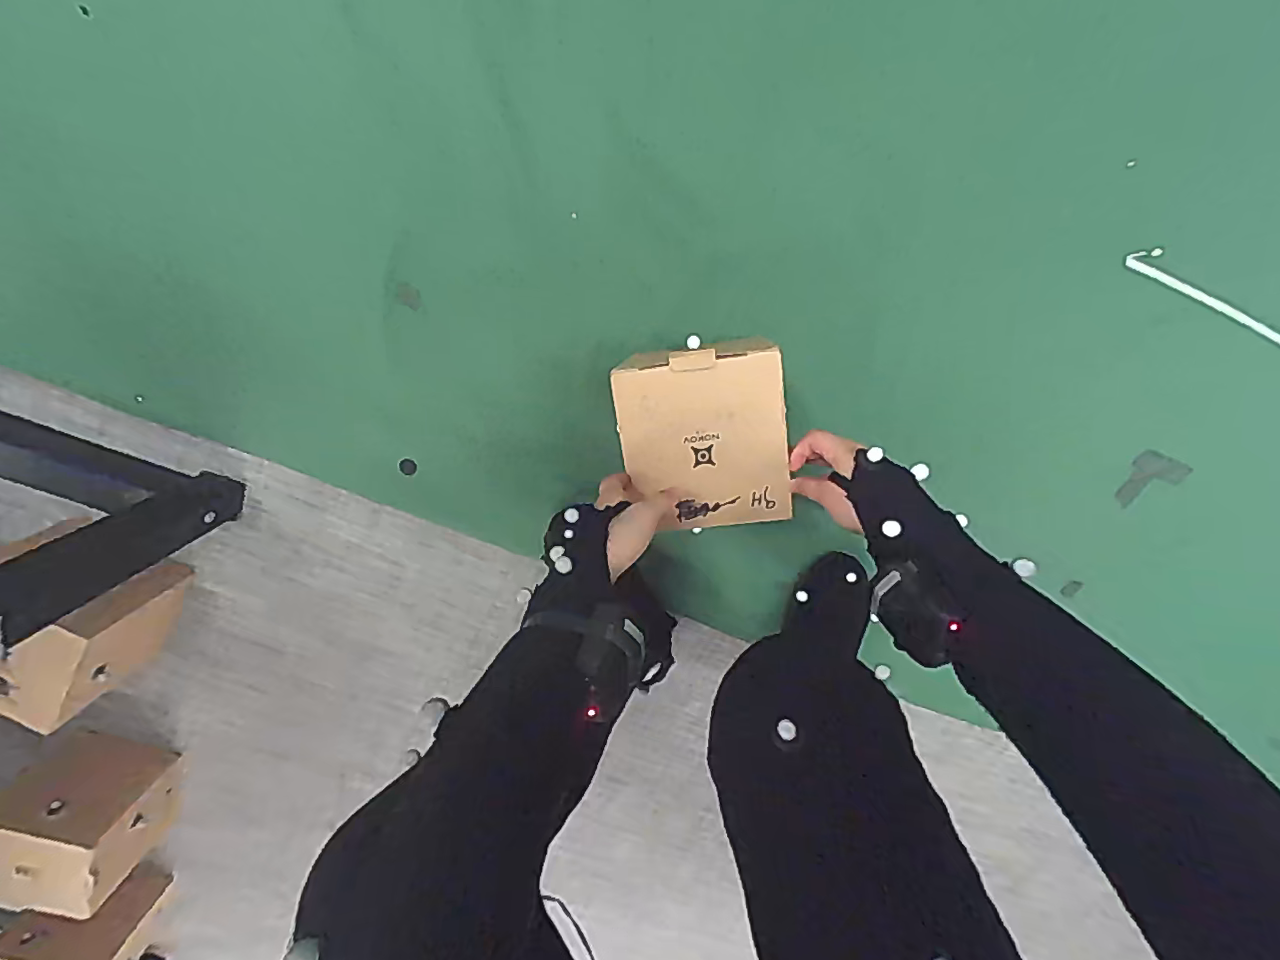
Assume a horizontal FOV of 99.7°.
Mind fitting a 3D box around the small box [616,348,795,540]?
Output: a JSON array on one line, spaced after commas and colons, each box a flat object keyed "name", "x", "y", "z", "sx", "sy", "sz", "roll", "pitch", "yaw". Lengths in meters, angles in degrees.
[{"name": "small box", "x": 0.074, "y": -0.050, "z": 0.609, "sx": 0.168, "sy": 0.176, "sz": 0.179, "roll": -6, "pitch": 108, "yaw": 8}]

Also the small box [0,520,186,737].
[{"name": "small box", "x": -0.759, "y": 0.185, "z": 0.711, "sx": 0.168, "sy": 0.176, "sz": 0.179, "roll": 34, "pitch": 105, "yaw": -12}]

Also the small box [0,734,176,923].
[{"name": "small box", "x": -0.876, "y": 0.531, "z": 0.841, "sx": 0.179, "sy": 0.176, "sz": 0.168, "roll": 20, "pitch": 109, "yaw": -6}]

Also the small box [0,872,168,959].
[{"name": "small box", "x": -0.988, "y": 0.810, "z": 0.947, "sx": 0.179, "sy": 0.176, "sz": 0.168, "roll": 26, "pitch": 109, "yaw": -8}]
